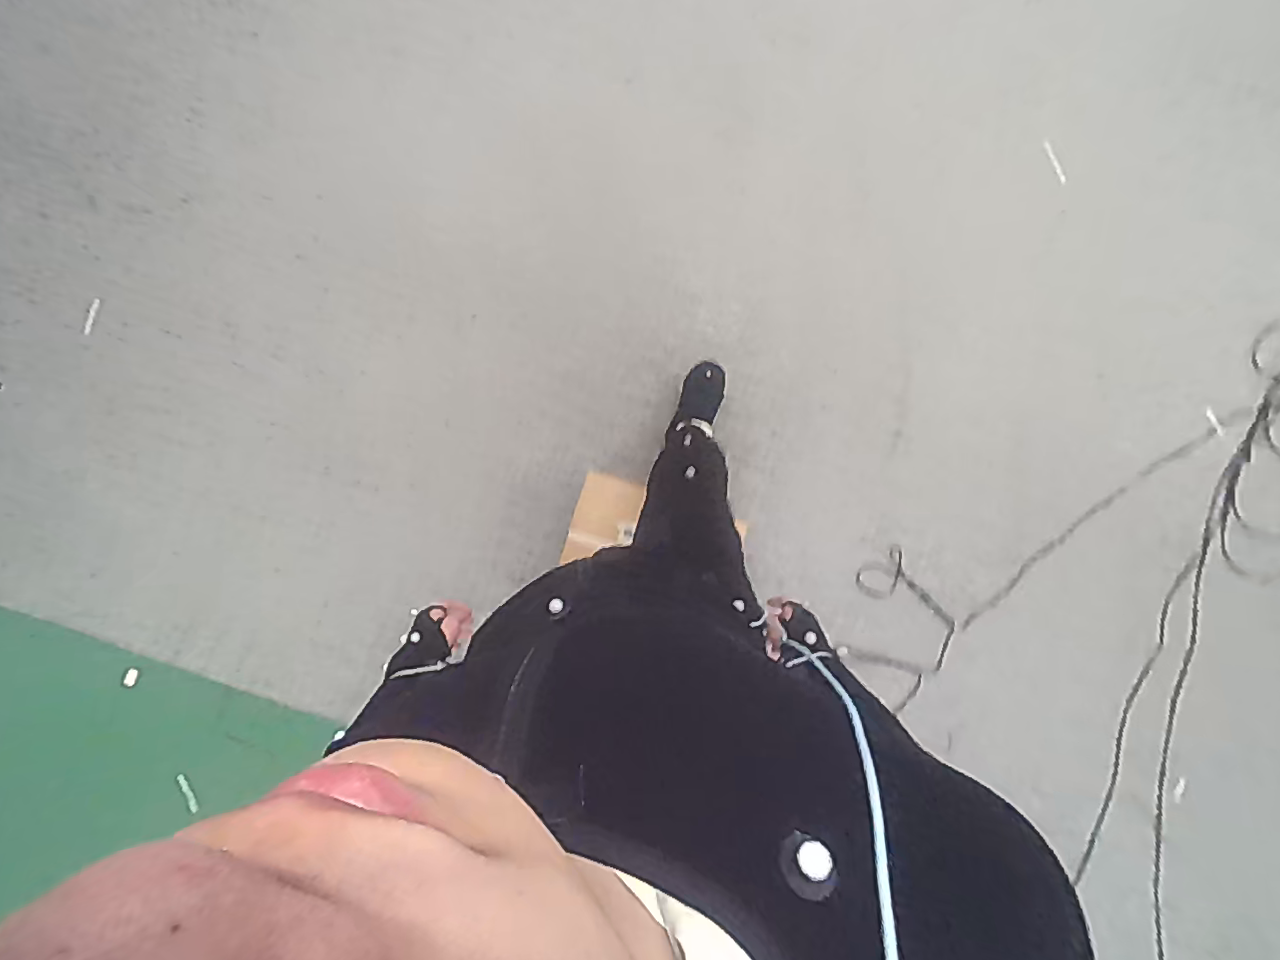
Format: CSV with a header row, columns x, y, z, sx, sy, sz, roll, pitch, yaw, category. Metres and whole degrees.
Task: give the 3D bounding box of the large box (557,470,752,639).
x,y,z,sx,sy,sz,roll,pitch,yaw,category
0.039,0.176,1.428,0.408,0.320,0.320,17,91,1,large box
